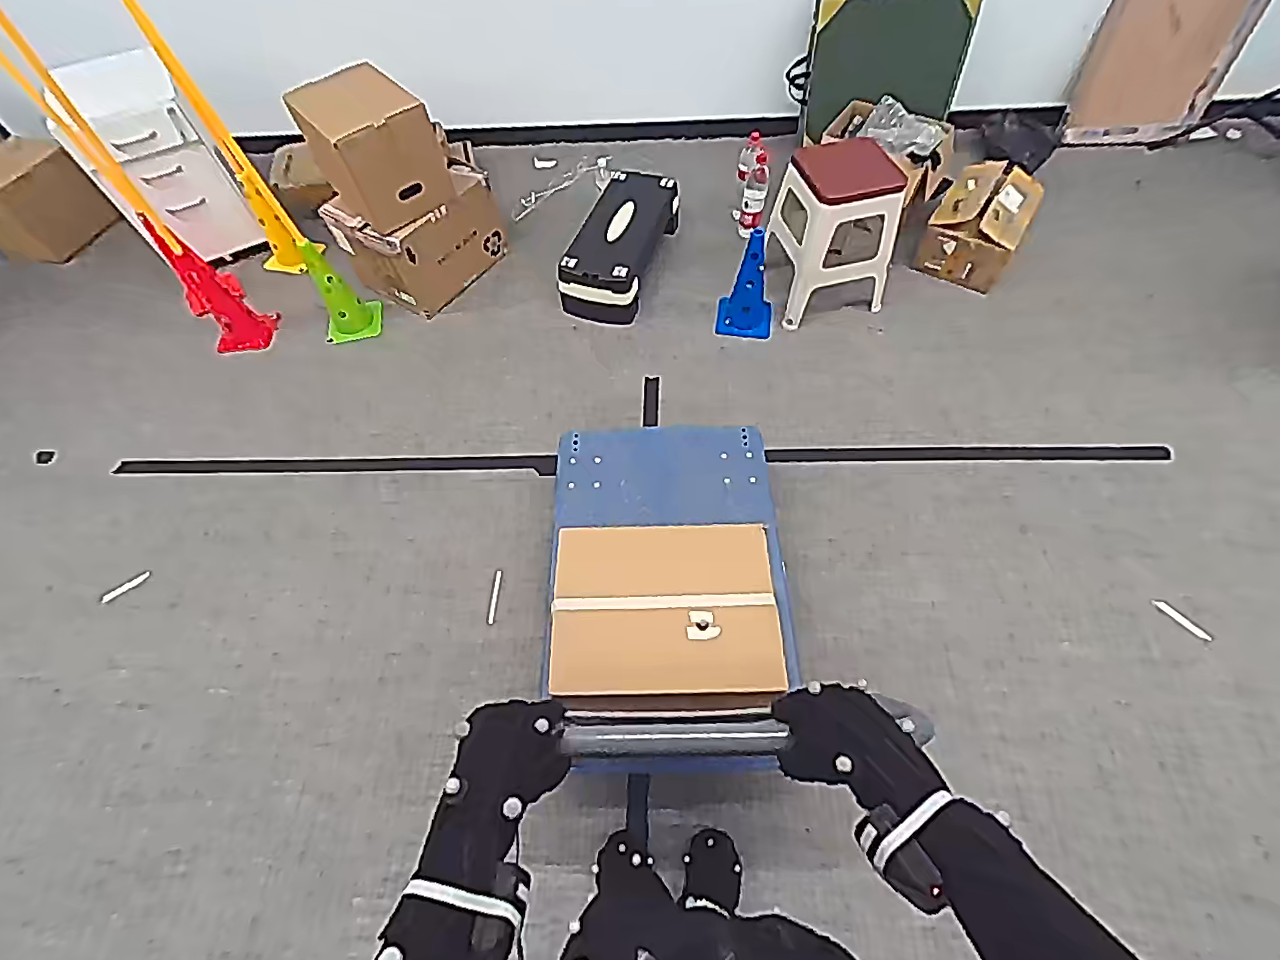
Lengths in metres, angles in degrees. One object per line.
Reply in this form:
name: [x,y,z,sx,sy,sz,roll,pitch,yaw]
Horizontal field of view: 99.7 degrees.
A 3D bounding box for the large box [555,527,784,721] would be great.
large box: [0.046,0.309,1.128,0.408,0.320,0.320,-1,59,0]
